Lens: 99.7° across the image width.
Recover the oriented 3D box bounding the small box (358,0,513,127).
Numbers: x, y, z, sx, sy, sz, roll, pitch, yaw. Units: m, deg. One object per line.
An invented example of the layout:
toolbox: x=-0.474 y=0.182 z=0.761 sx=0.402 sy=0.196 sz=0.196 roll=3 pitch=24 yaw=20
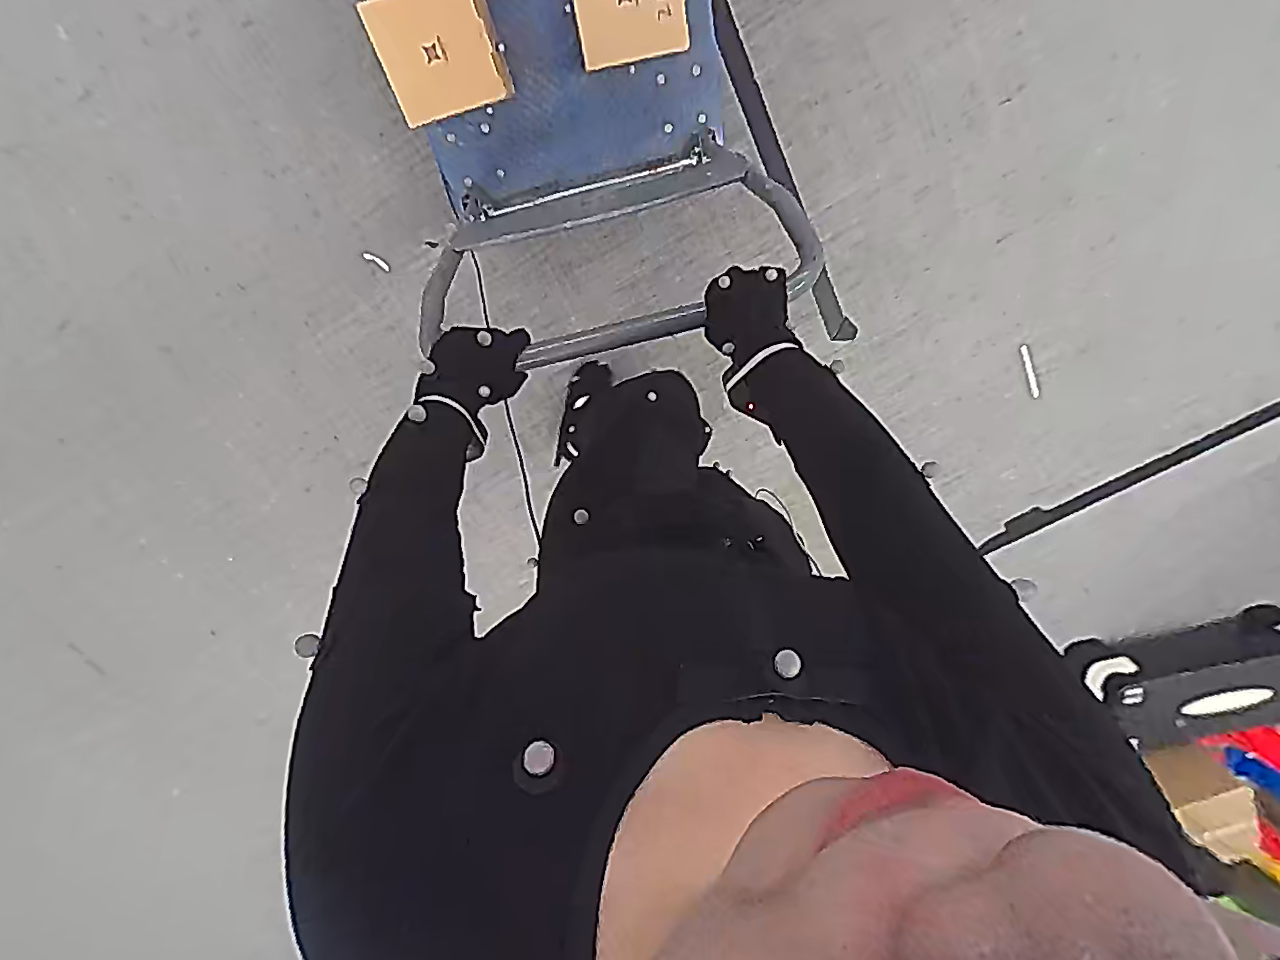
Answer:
small box: x=-0.332 y=-0.721 z=0.918 sx=0.179 sy=0.176 sz=0.168 roll=-16 pitch=126 yaw=4

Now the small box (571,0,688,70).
small box: x=-0.024 y=-0.796 z=0.895 sx=0.179 sy=0.176 sz=0.168 roll=-11 pitch=127 yaw=2
